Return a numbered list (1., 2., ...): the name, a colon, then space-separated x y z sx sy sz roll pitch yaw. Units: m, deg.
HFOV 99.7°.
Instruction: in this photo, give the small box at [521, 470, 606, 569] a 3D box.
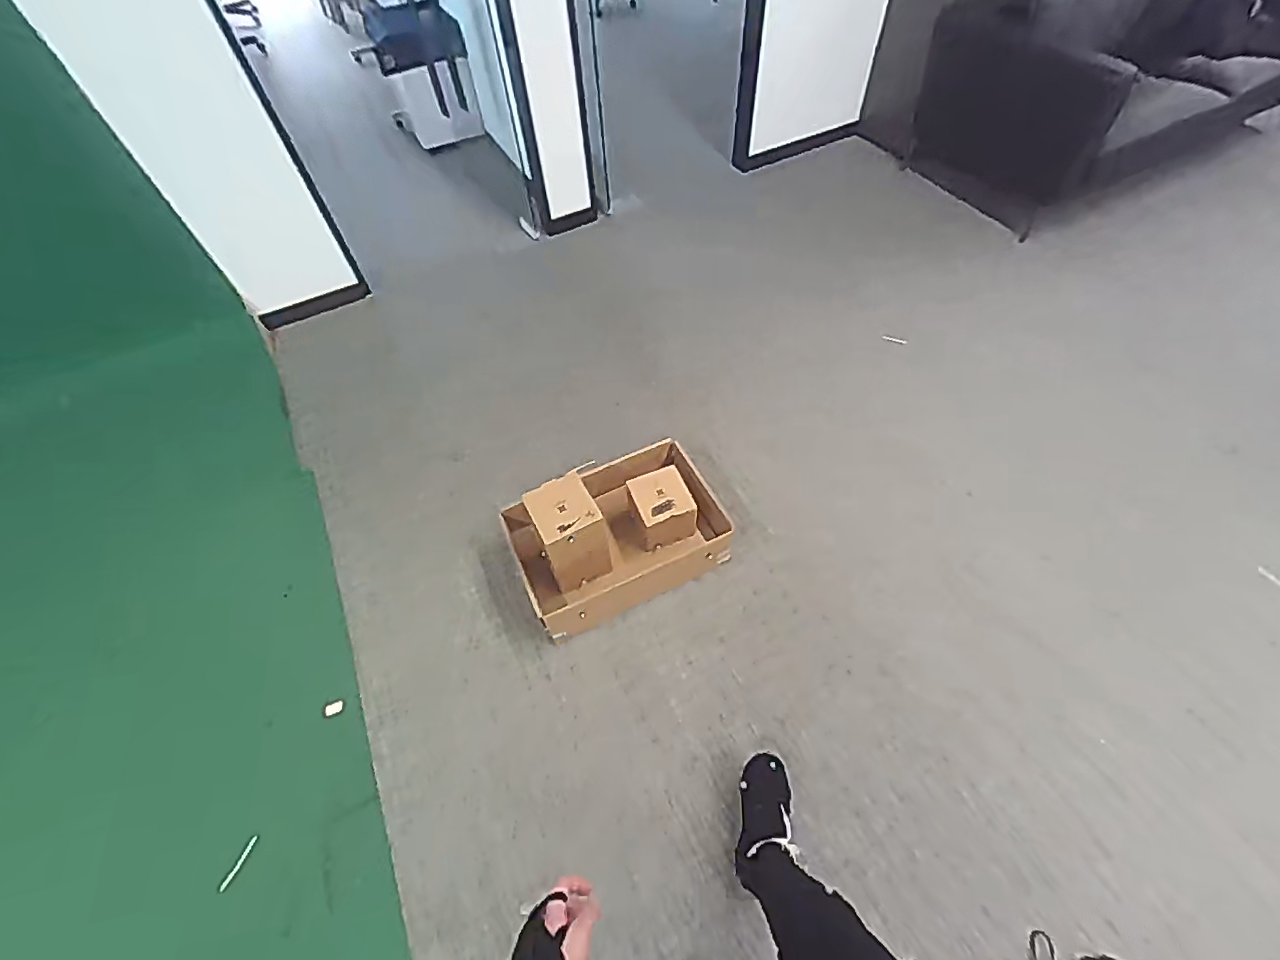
1. small box: -0.205 0.111 1.477 0.168 0.176 0.179 -26 58 -14
